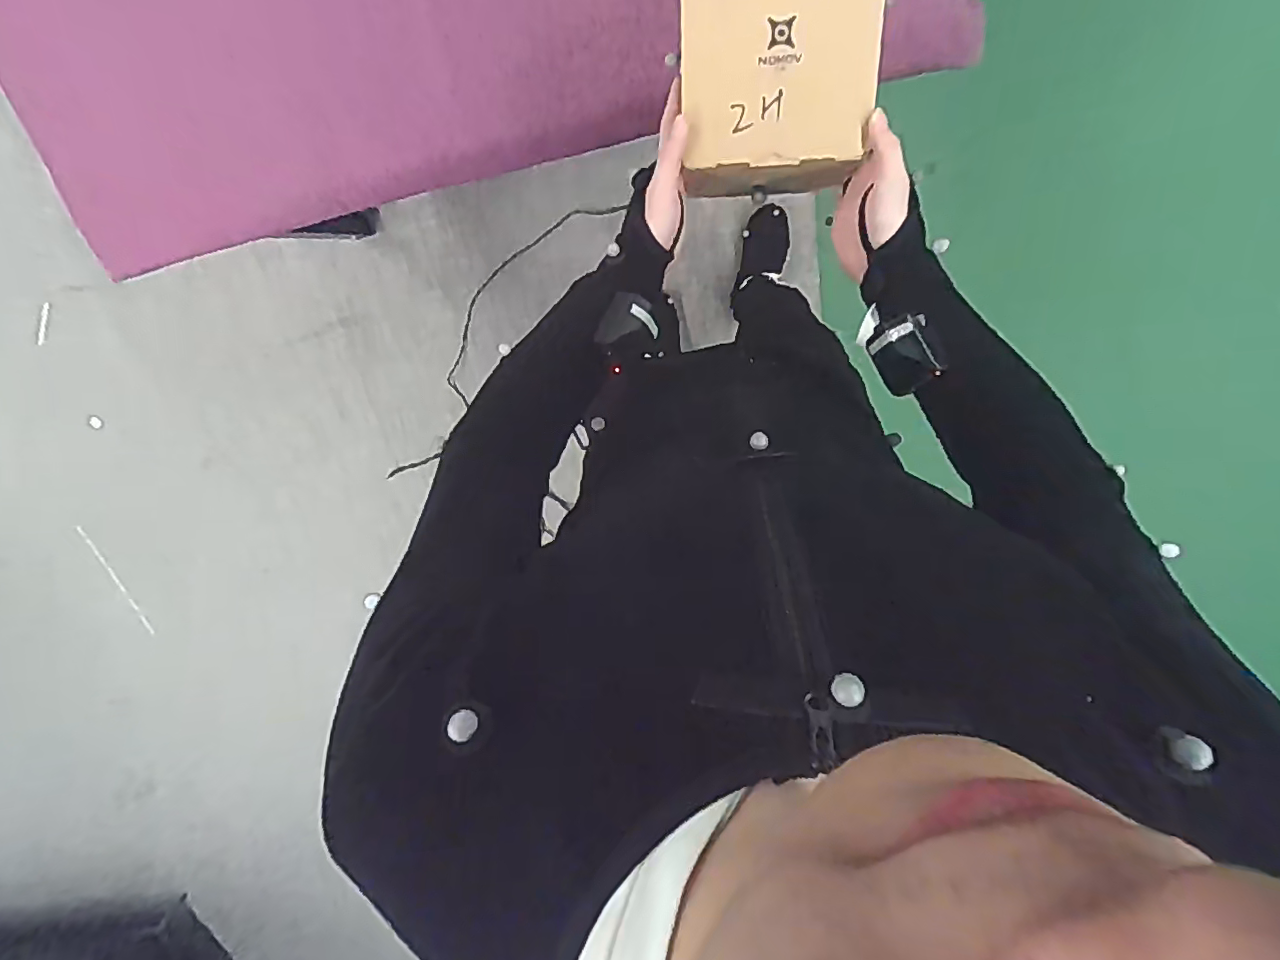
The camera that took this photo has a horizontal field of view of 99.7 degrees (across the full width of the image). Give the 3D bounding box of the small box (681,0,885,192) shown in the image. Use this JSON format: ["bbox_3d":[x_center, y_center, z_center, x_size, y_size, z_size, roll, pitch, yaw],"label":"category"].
[{"bbox_3d":[0.124,-0.394,0.524,0.168,0.176,0.179,1,109,6],"label":"small box"}]
